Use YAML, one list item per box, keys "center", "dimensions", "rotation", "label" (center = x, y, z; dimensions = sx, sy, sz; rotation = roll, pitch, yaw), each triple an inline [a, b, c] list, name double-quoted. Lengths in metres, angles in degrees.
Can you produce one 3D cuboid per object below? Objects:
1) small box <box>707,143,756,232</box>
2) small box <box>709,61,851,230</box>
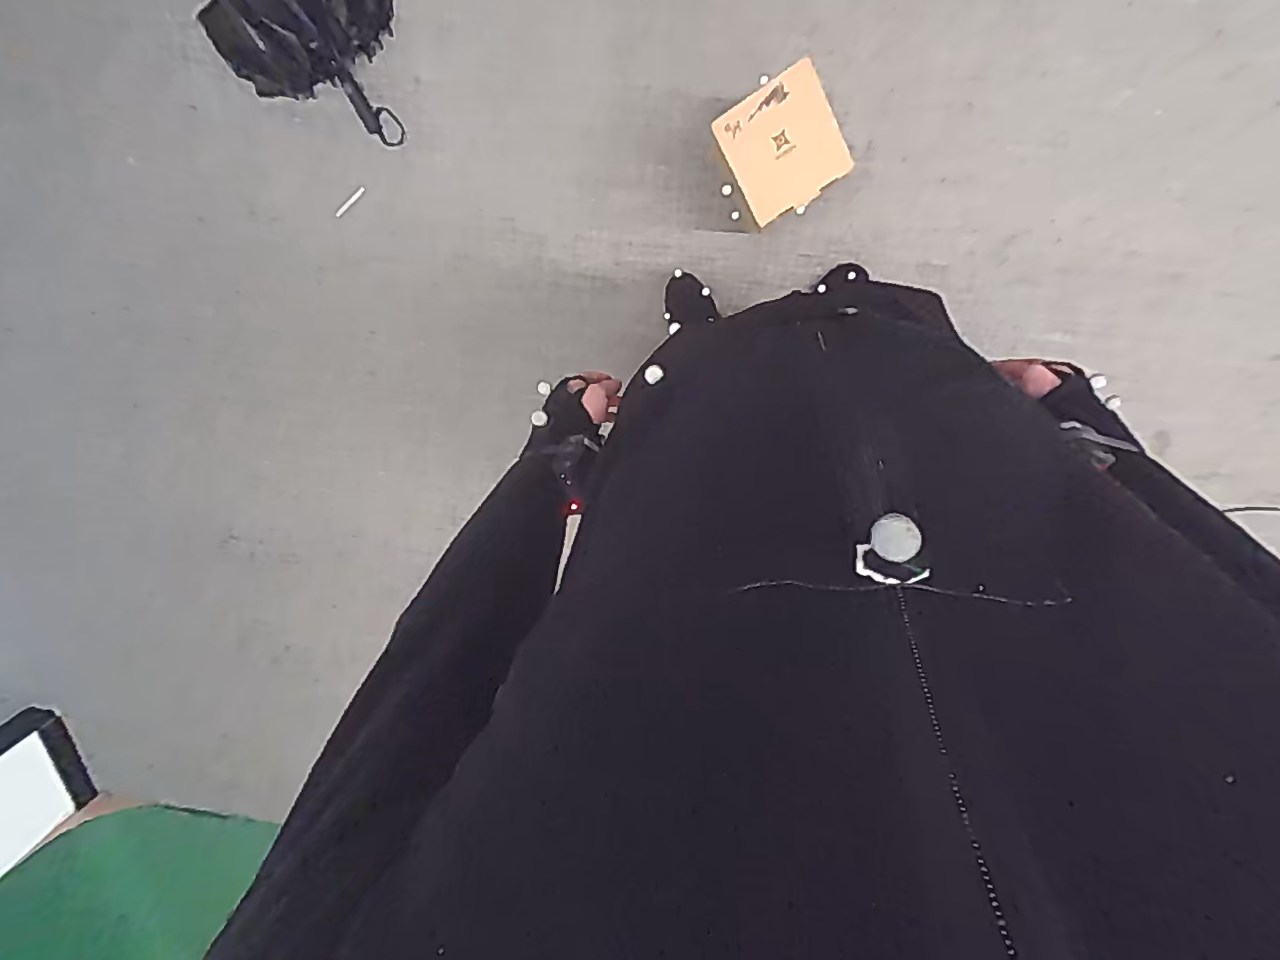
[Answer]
- center: [0.247, -0.615, 1.069]
  dimensions: [0.168, 0.176, 0.179]
  rotation: [-29, 105, 17]
  label: "small box"
- center: [0.229, -0.551, 0.918]
  dimensions: [0.168, 0.176, 0.179]
  rotation: [-28, 108, 16]
  label: "small box"
